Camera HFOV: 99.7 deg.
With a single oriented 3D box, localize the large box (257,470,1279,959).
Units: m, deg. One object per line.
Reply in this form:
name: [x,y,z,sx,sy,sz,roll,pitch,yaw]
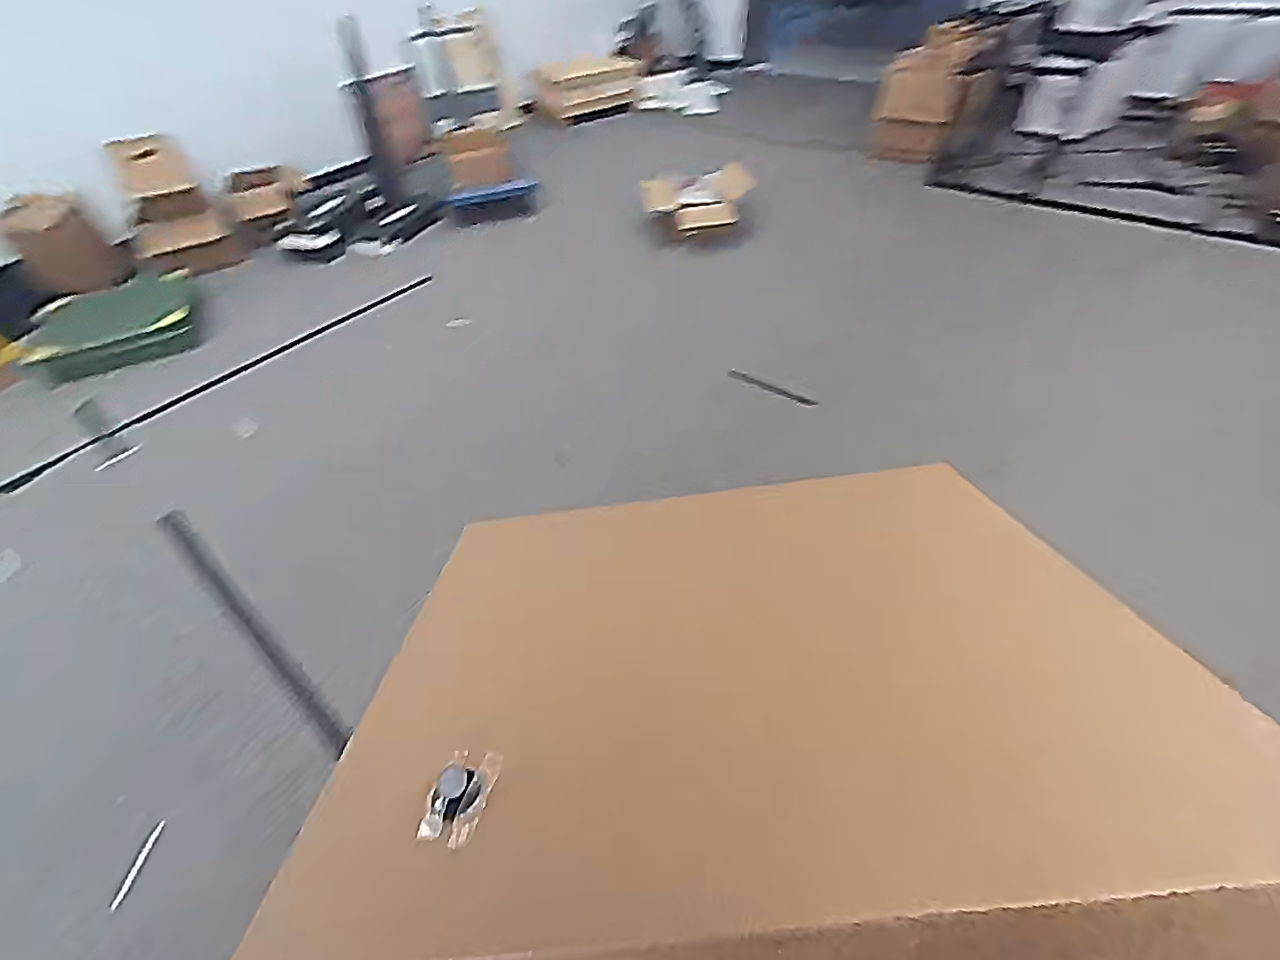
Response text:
large box: [0.068,0.216,0.387,0.408,0.320,0.320,-9,26,2]
